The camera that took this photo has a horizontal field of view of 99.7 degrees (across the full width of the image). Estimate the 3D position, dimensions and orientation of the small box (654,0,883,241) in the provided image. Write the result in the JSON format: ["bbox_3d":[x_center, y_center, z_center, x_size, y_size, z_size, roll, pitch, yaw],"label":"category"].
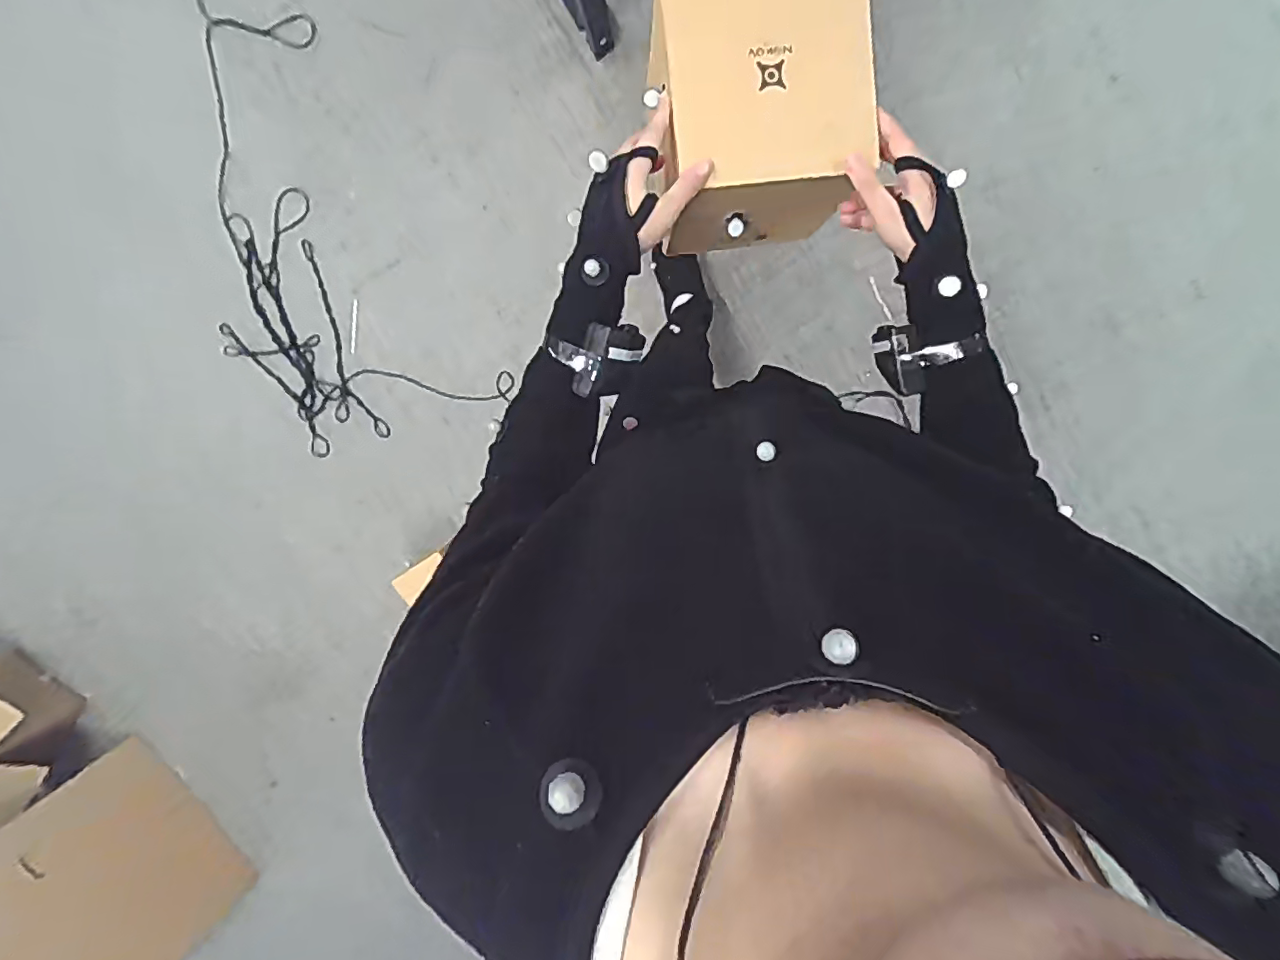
[{"bbox_3d":[0.103,-0.338,0.501,0.168,0.176,0.179,-6,93,-1],"label":"small box"}]
